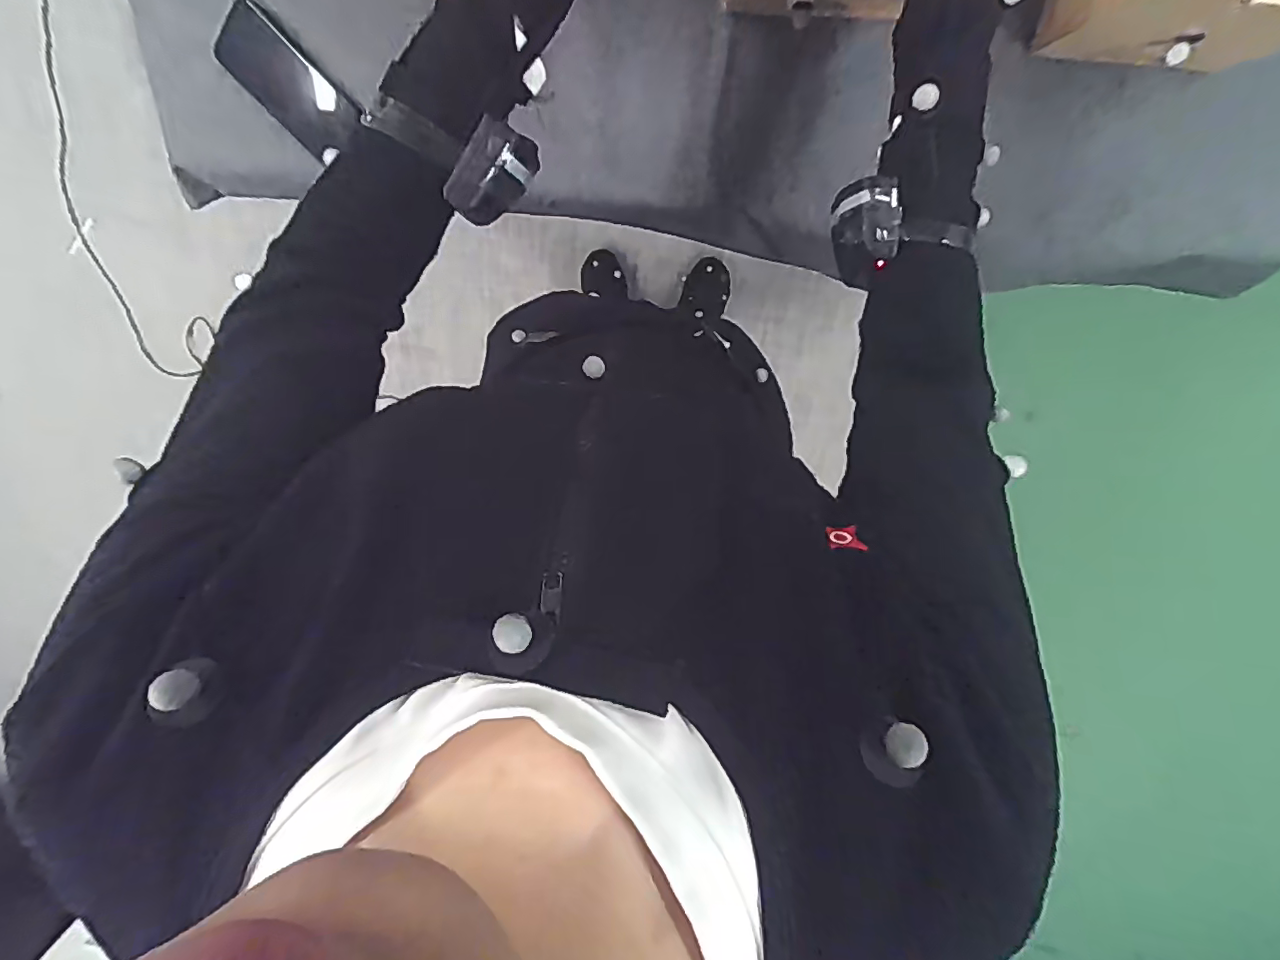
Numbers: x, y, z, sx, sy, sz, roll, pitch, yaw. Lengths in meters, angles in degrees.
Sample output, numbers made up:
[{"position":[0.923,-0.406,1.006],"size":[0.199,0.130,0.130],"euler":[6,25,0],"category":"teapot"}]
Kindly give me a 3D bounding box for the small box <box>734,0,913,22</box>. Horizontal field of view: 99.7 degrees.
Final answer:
[{"position":[0.157,-0.479,0.400],"size":[0.168,0.176,0.179],"euler":[6,117,6],"category":"small box"}]

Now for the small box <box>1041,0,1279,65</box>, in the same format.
[{"position":[0.435,-0.424,0.386],"size":[0.168,0.176,0.179],"euler":[8,116,4],"category":"small box"}]
